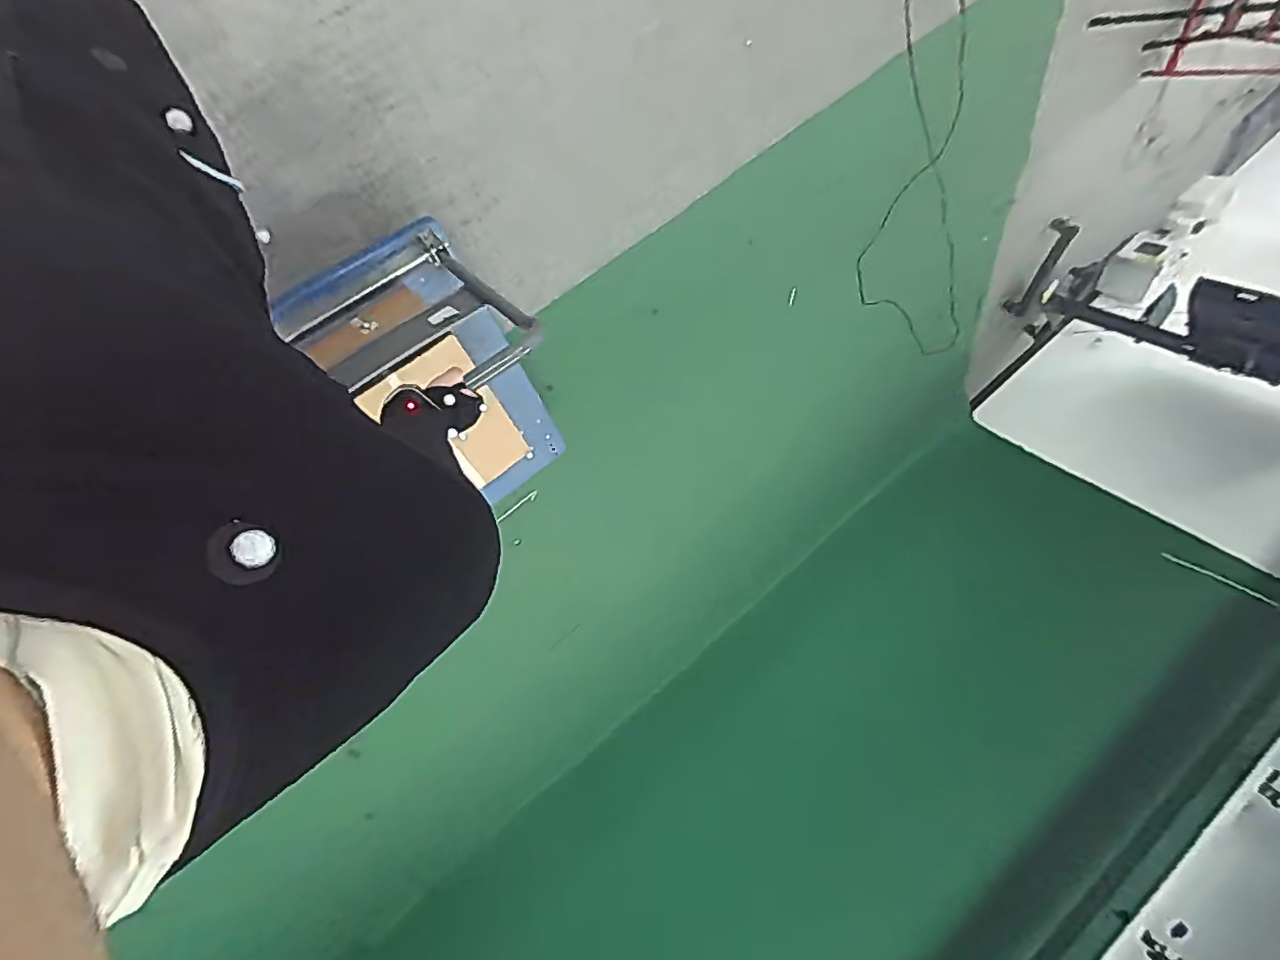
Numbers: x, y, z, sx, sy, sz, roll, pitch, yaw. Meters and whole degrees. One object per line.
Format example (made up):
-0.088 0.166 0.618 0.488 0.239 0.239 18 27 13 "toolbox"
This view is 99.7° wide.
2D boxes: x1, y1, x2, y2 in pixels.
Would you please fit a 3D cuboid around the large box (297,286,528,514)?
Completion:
-0.555 -0.196 1.357 0.320 0.320 0.408 -38 142 -11 "large box"
